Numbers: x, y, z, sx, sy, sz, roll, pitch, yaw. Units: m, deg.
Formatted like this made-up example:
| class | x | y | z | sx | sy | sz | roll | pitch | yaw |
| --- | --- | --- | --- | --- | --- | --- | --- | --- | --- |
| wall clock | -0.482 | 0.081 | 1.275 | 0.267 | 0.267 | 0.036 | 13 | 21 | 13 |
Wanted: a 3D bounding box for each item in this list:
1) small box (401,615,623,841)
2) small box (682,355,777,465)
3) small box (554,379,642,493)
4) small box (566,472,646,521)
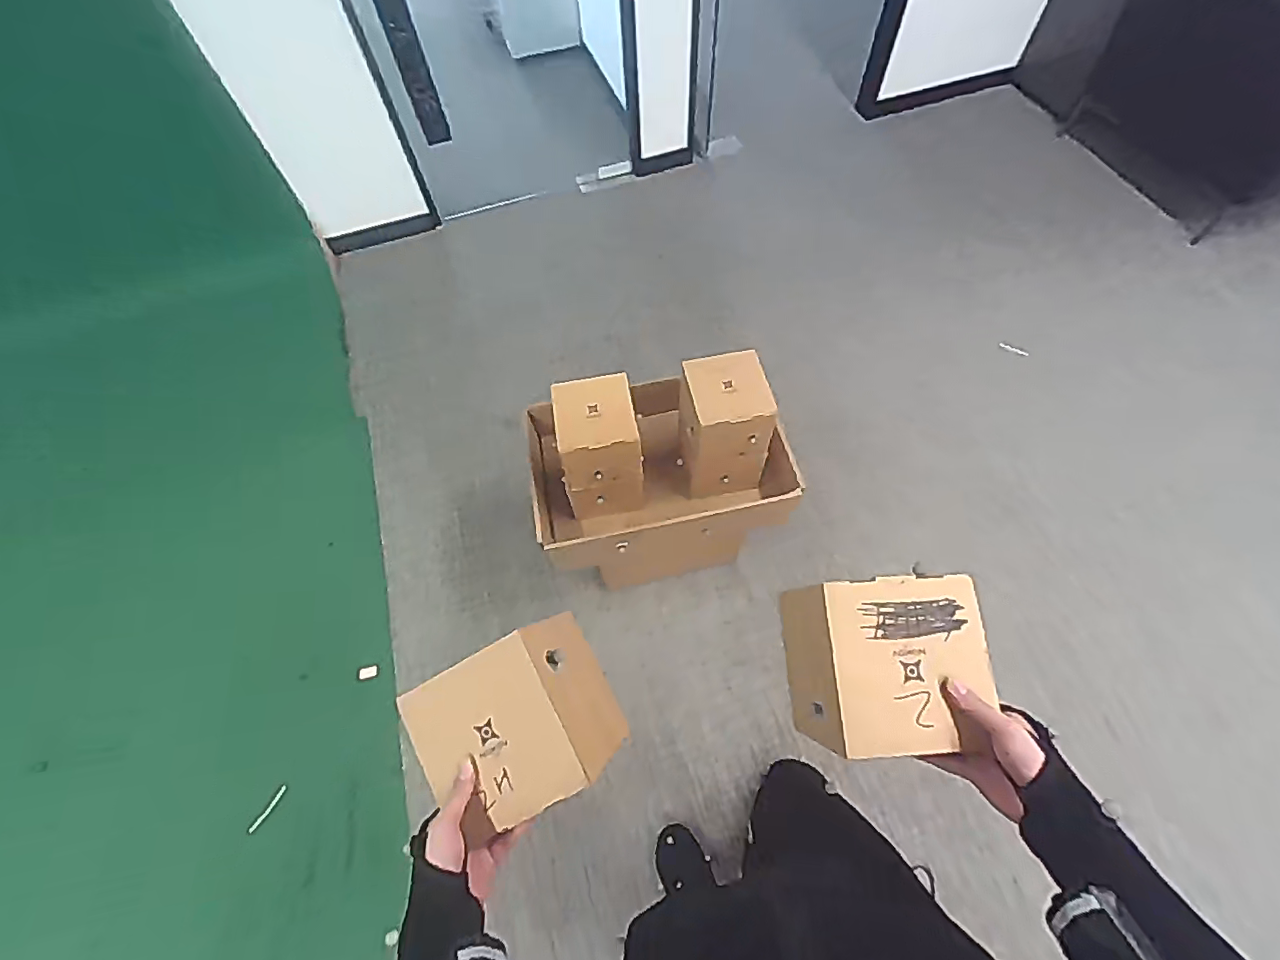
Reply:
| class | x | y | z | sx | sy | sz | roll | pitch | yaw |
| --- | --- | --- | --- | --- | --- | --- | --- | --- | --- |
| small box | -0.142 | 0.276 | 0.651 | 0.168 | 0.176 | 0.179 | -30 | 78 | 8 |
| small box | 0.190 | -0.147 | 1.200 | 0.168 | 0.176 | 0.179 | -10 | 60 | -3 |
| small box | -0.089 | -0.094 | 1.191 | 0.168 | 0.176 | 0.179 | -10 | 61 | -3 |
| small box | -0.084 | -0.011 | 1.332 | 0.179 | 0.176 | 0.168 | -9 | 61 | -2 |
